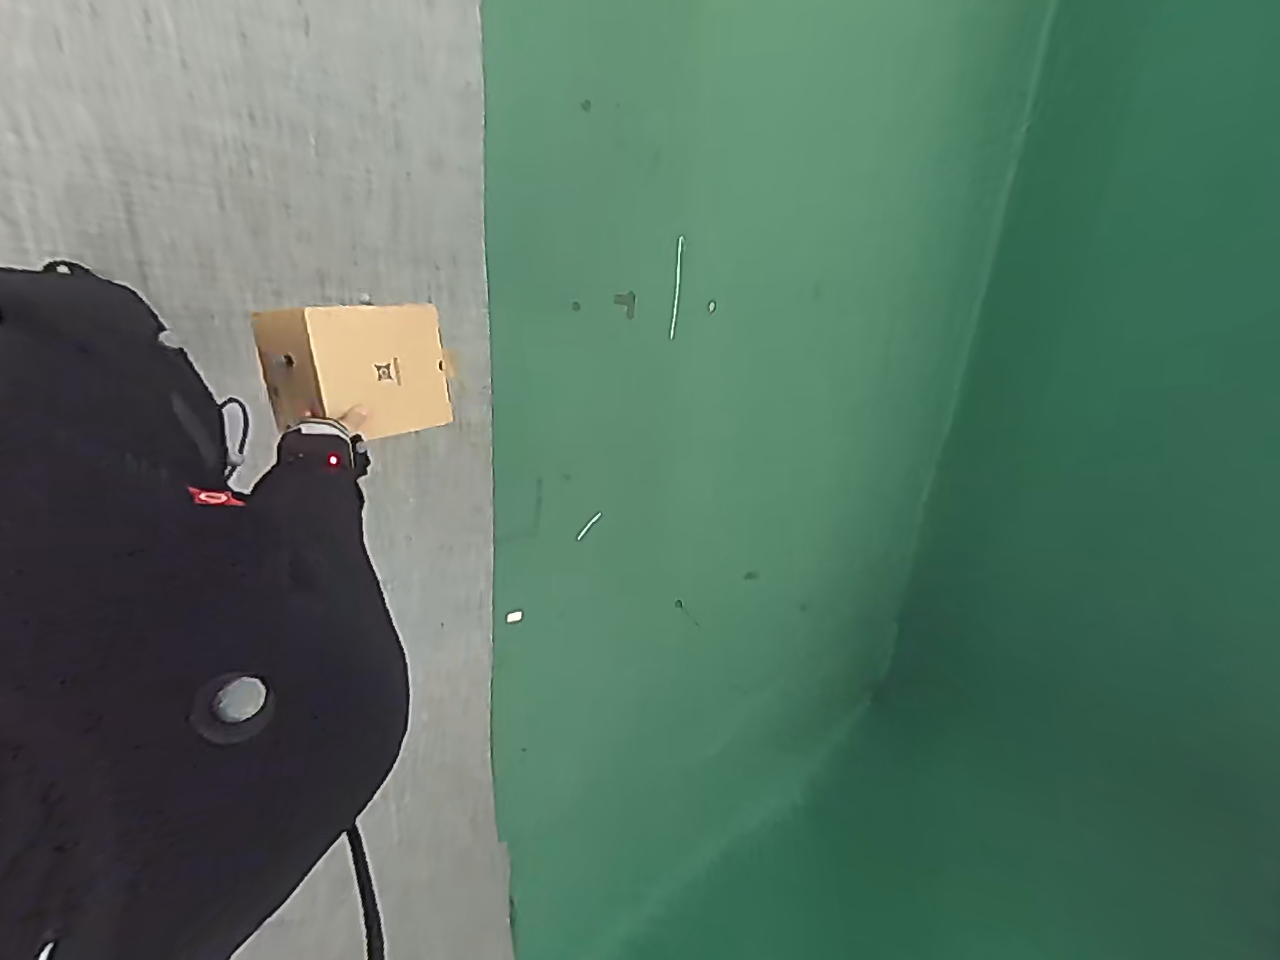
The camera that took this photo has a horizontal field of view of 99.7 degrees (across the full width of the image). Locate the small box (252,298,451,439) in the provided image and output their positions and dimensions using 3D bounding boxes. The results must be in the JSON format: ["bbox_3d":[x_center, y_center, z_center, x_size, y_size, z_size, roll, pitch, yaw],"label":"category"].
[{"bbox_3d":[-0.390,-0.156,0.733,0.179,0.176,0.168,-25,118,-51],"label":"small box"}]
